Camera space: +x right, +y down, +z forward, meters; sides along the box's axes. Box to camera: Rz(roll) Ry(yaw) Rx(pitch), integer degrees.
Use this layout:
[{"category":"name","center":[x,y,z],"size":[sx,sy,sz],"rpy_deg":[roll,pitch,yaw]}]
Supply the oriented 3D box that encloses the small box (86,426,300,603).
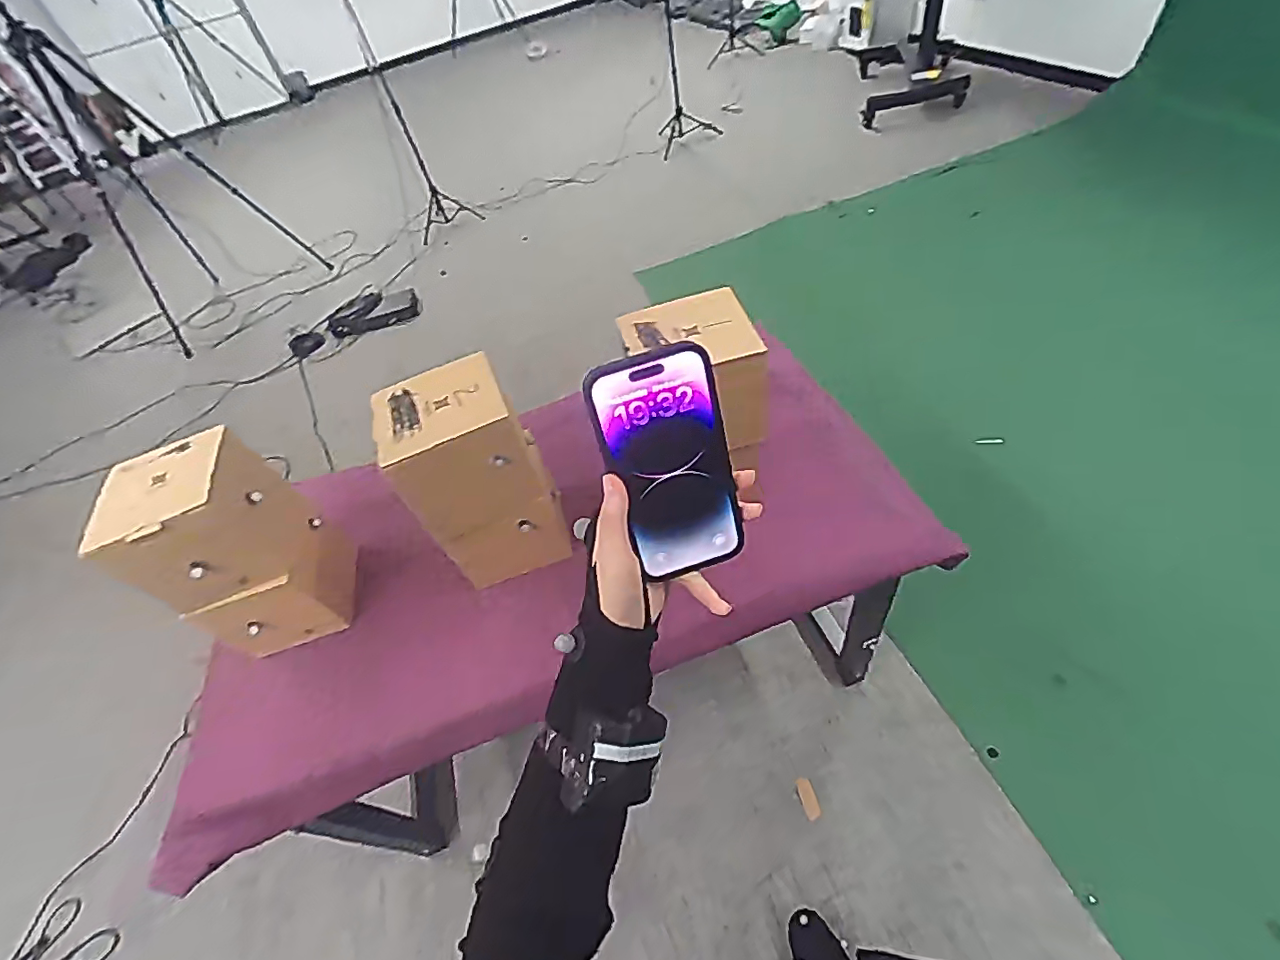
[{"category":"small box","center":[-0.634,0.059,0.797],"size":[0.168,0.176,0.179],"rpy_deg":[-23,50,-6]}]

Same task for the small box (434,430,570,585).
[{"category":"small box","center":[-0.228,0.049,0.918],"size":[0.179,0.176,0.168],"rpy_deg":[-20,49,-3]}]

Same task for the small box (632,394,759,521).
[{"category":"small box","center":[0.097,-0.055,0.926],"size":[0.179,0.176,0.168],"rpy_deg":[-16,48,2]}]

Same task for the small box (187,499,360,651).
[{"category":"small box","center":[-0.600,0.168,0.915],"size":[0.168,0.176,0.179],"rpy_deg":[-19,49,-2]}]

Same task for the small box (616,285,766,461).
[{"category":"small box","center":[0.078,-0.151,0.793],"size":[0.179,0.176,0.168],"rpy_deg":[-15,48,1]}]
